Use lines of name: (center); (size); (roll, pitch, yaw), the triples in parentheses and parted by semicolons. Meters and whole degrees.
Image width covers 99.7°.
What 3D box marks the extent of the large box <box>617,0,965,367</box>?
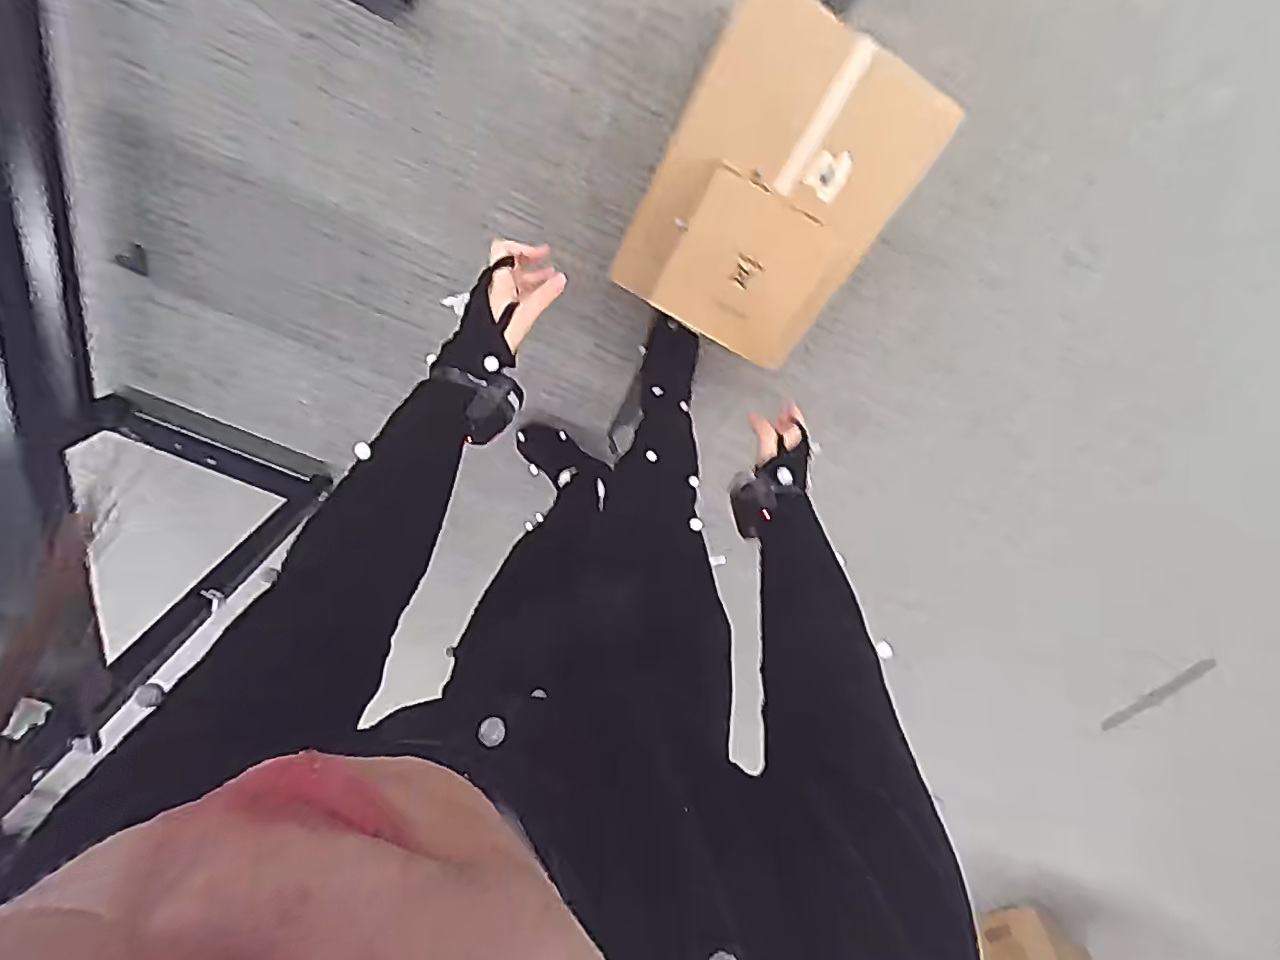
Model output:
large box: (0.199, -0.467, 0.872); (0.320, 0.320, 0.408); (26, 121, -12)

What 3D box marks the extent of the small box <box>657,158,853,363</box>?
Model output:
small box: (0.138, -0.290, 0.700); (0.168, 0.176, 0.179); (28, 122, -10)
